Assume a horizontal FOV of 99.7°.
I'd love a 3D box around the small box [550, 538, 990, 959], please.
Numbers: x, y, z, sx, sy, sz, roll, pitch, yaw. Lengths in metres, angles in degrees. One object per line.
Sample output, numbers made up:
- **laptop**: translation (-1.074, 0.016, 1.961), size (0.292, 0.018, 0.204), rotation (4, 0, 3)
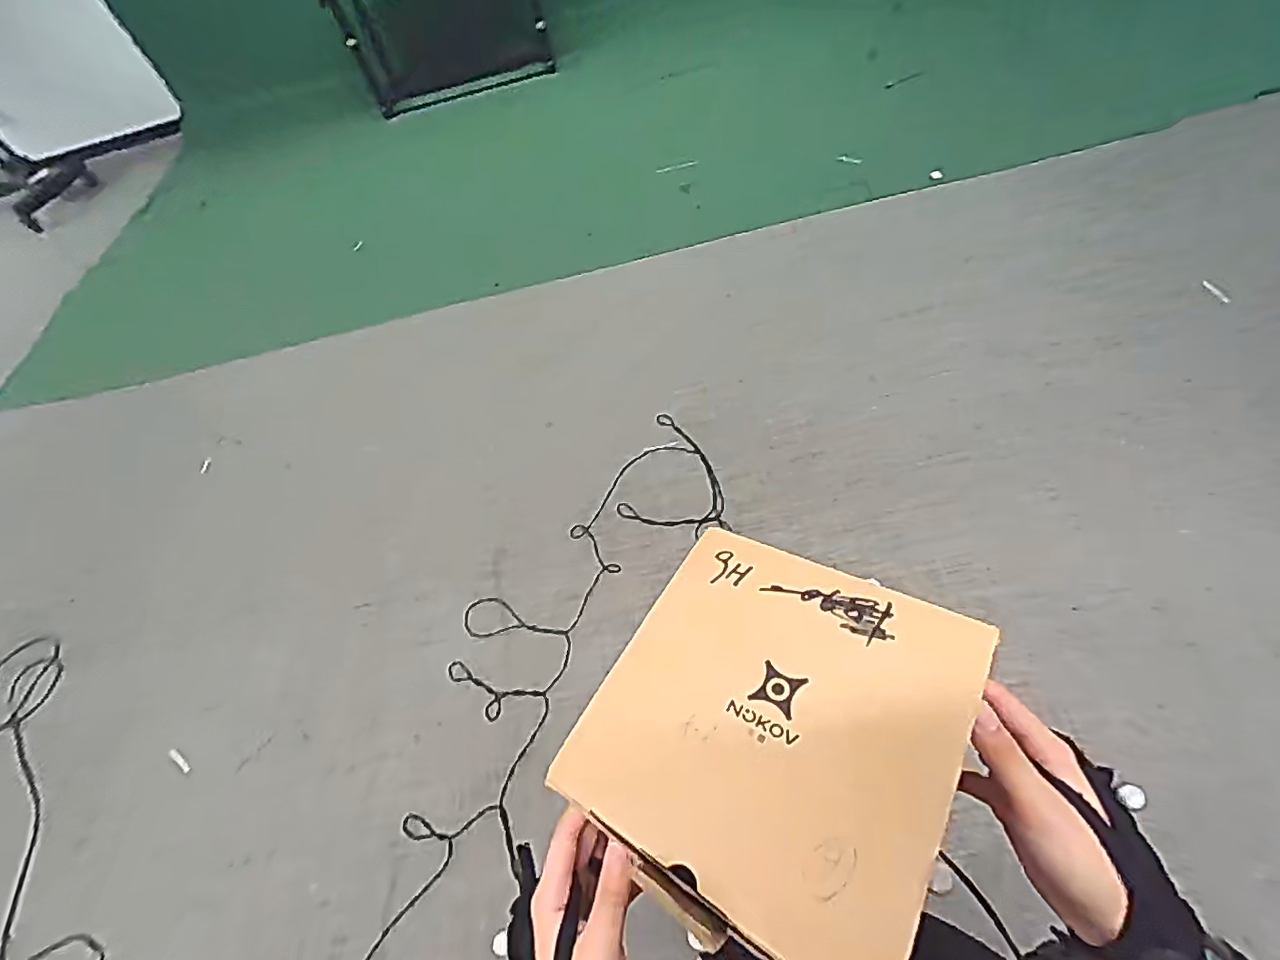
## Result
- **small box**: translation (0.083, 0.172, 0.328), size (0.168, 0.176, 0.179), rotation (19, 57, 32)
